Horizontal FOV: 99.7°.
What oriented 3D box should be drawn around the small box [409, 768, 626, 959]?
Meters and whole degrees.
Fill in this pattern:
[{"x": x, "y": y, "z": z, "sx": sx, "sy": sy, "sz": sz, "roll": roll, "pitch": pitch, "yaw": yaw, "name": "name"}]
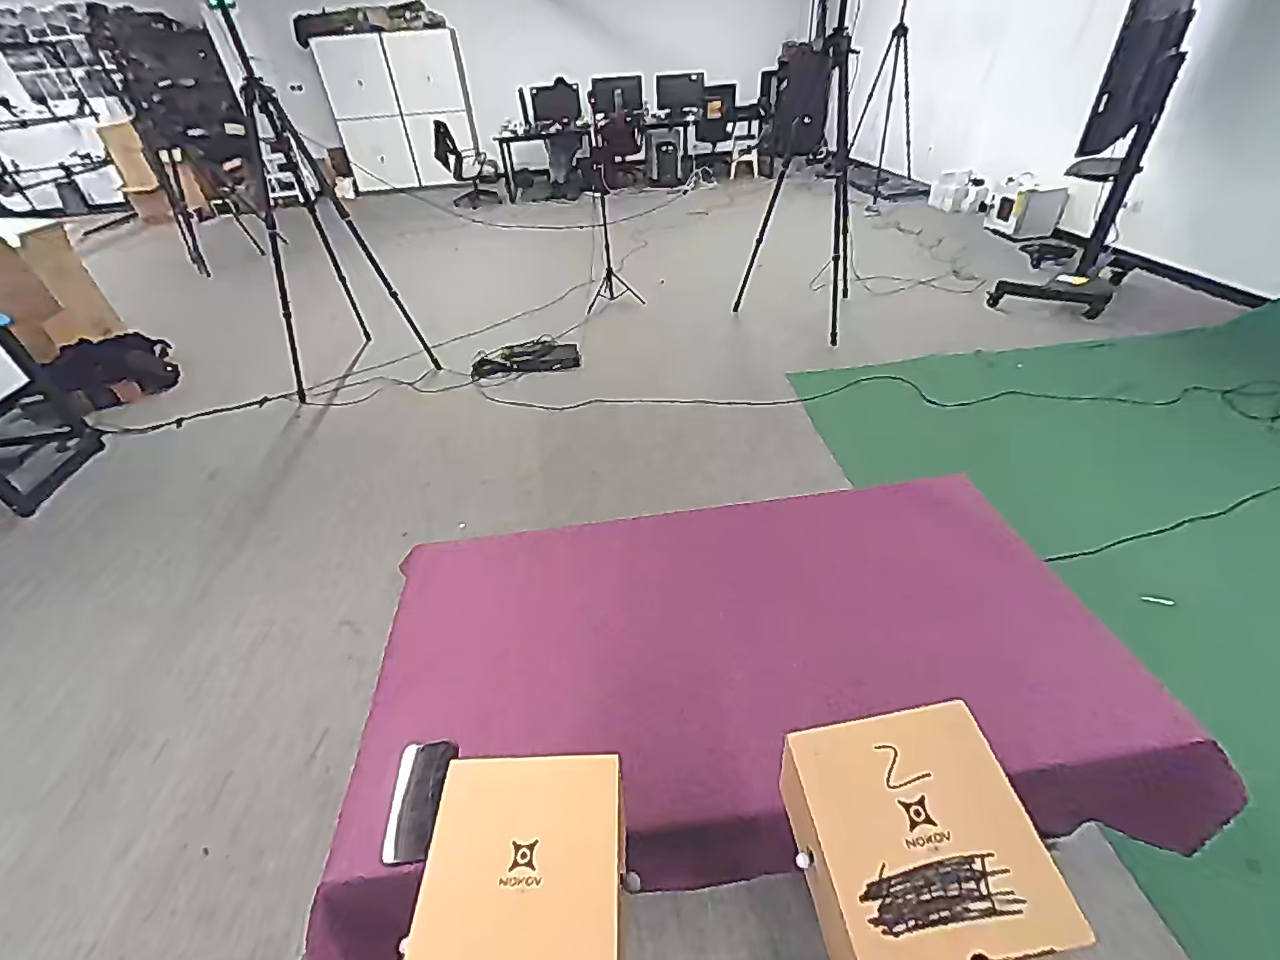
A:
[{"x": -0.099, "y": 0.400, "z": 0.513, "sx": 0.168, "sy": 0.176, "sz": 0.179, "roll": -2, "pitch": 40, "yaw": -1, "name": "small box"}]
